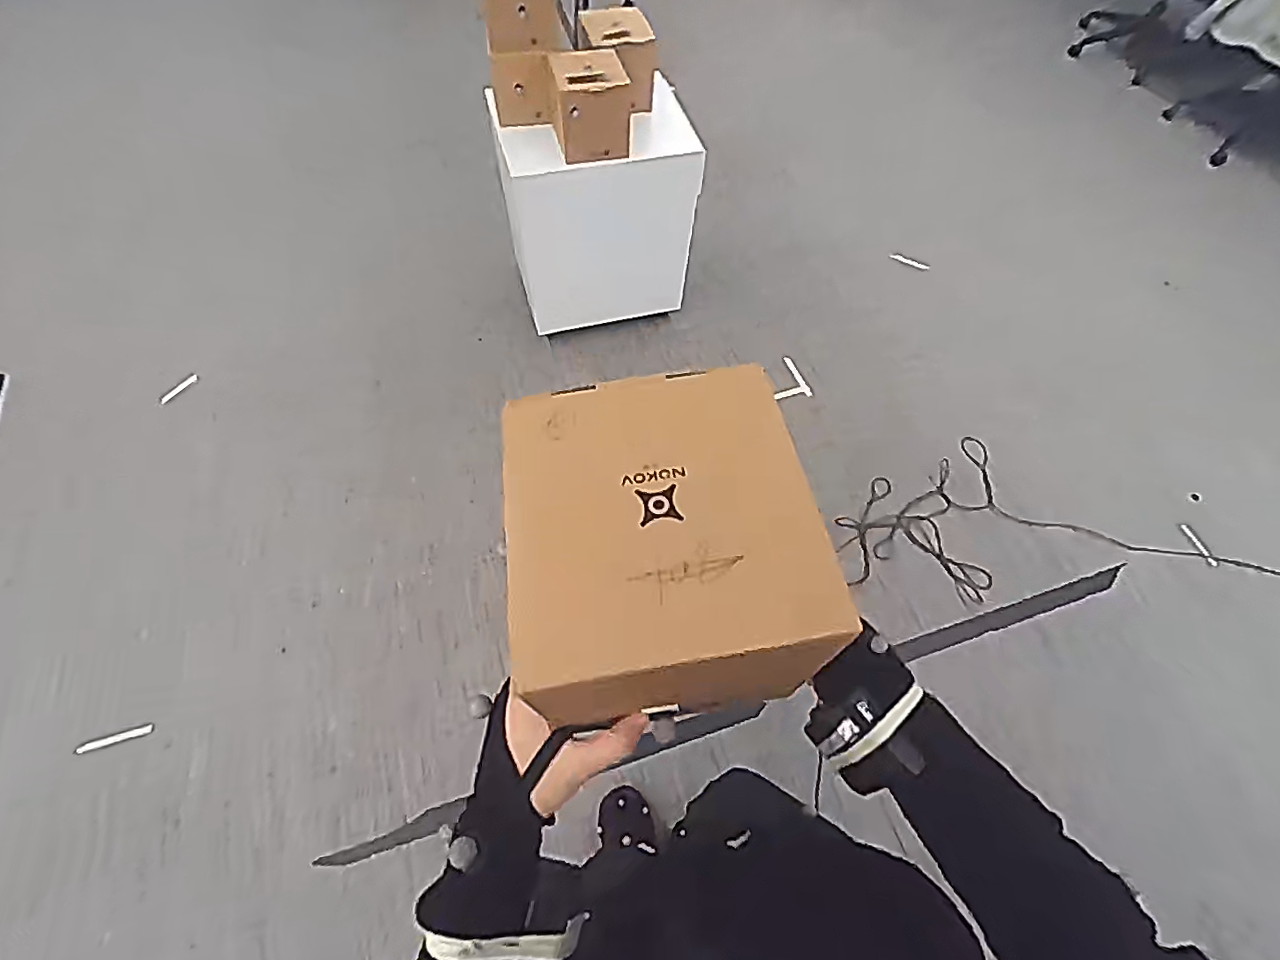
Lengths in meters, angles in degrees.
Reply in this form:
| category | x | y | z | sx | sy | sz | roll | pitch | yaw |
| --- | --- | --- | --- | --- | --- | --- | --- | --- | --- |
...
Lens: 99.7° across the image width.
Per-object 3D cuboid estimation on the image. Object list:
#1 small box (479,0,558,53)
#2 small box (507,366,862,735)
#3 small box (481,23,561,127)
| category | x | y | z | sx | sy | sz | roll | pitch | yaw |
| --- | --- | --- | --- | --- | --- | --- | --- | --- | --- |
| small box | -0.288 | -1.121 | 1.248 | 0.168 | 0.176 | 0.179 | -12 | 64 | -10 |
| small box | 0.014 | 0.054 | 0.361 | 0.168 | 0.176 | 0.179 | -10 | 59 | -4 |
| small box | -0.302 | -1.037 | 1.389 | 0.168 | 0.176 | 0.179 | -11 | 63 | -9 |
